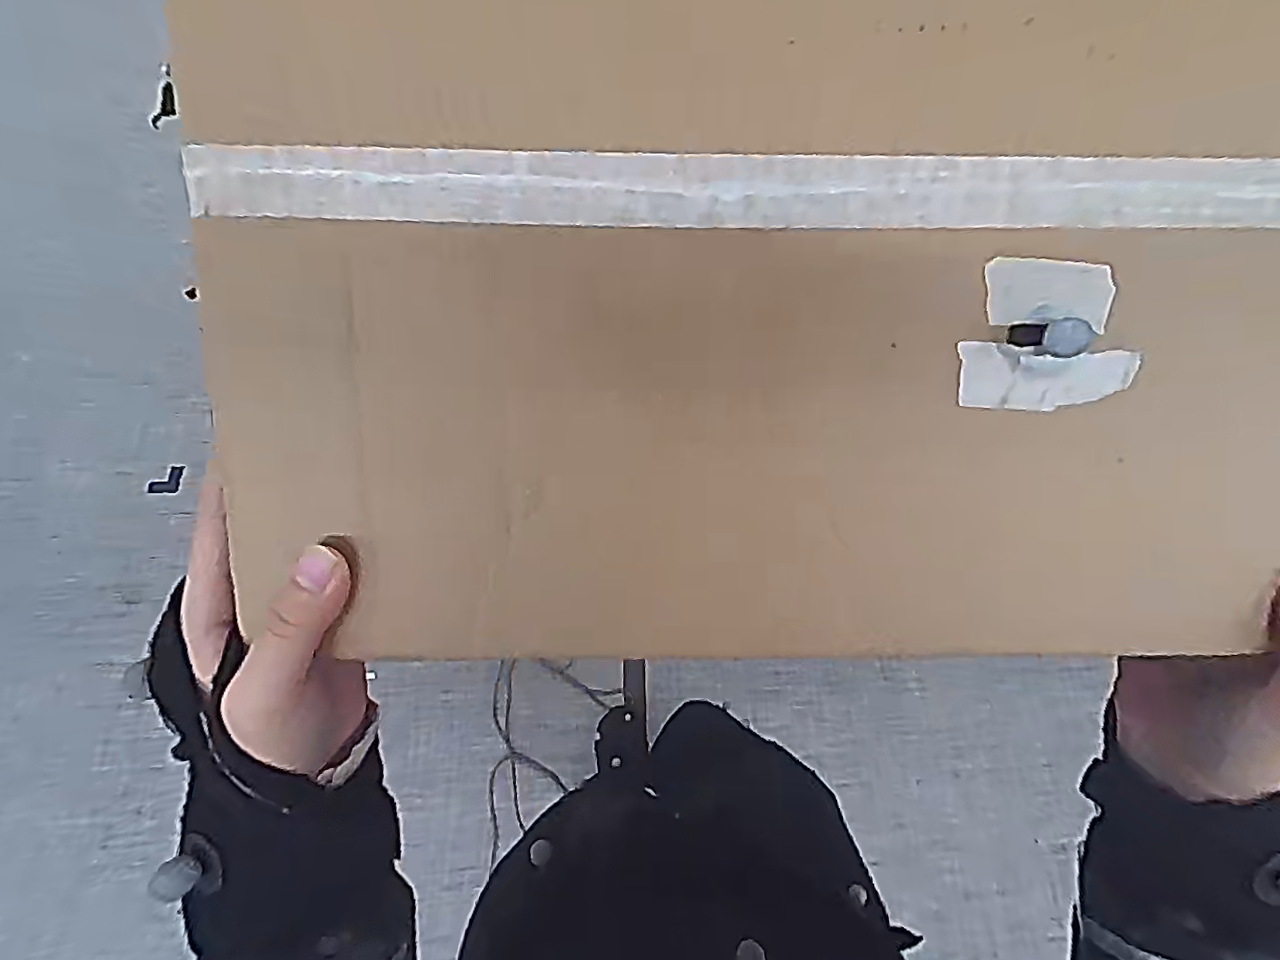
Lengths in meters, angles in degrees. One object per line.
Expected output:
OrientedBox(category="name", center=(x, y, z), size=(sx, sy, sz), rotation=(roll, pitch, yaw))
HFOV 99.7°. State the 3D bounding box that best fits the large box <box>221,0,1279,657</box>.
OrientedBox(category="large box", center=(0.057, -0.109, 0.334), size=(0.408, 0.320, 0.320), rotation=(-1, 98, -2))
